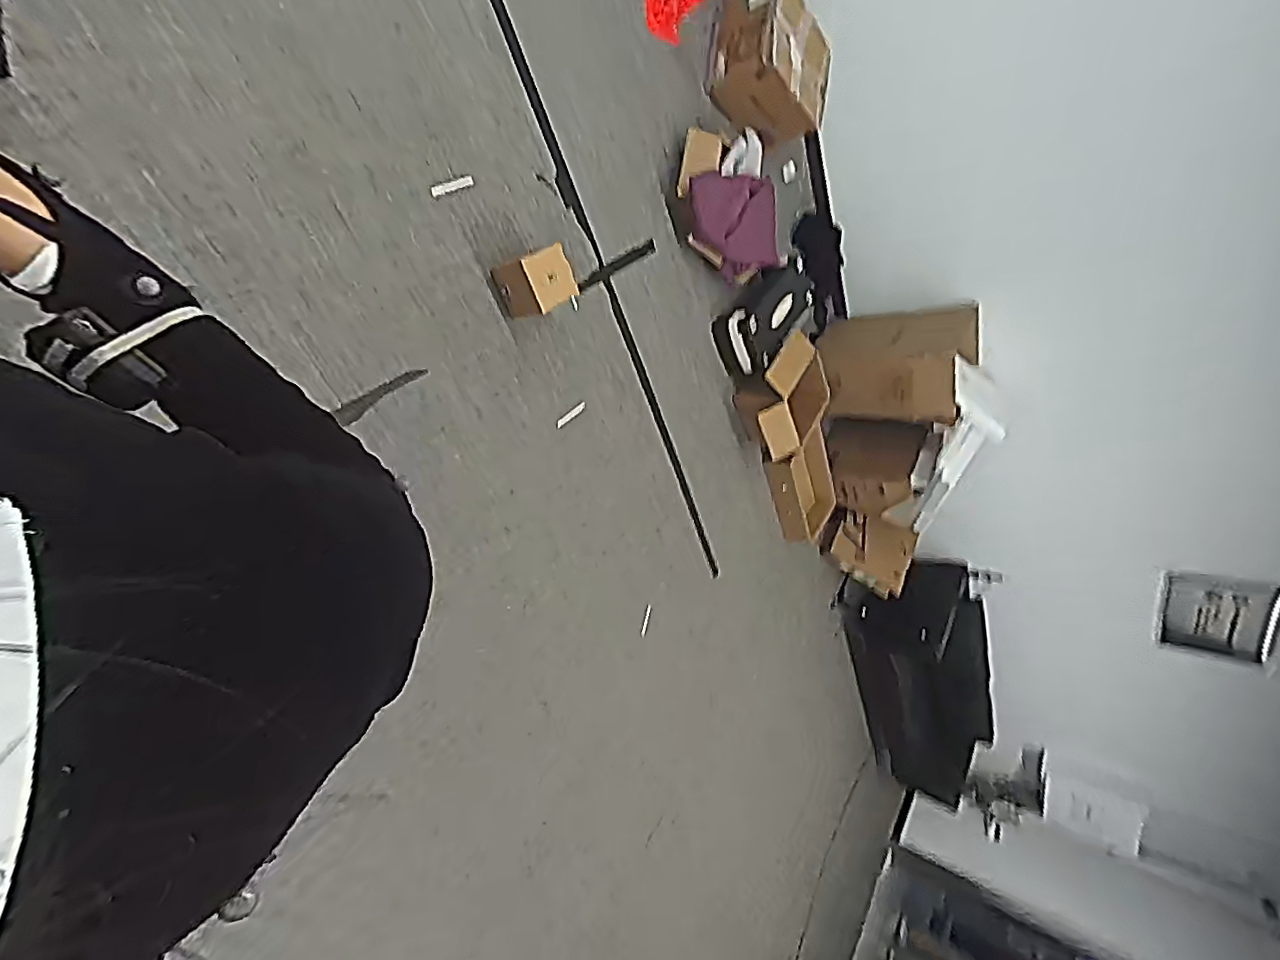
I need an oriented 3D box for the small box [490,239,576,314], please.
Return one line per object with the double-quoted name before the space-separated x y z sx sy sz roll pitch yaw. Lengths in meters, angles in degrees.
"small box" -0.341 -0.646 1.721 0.179 0.176 0.168 -44 125 -34
